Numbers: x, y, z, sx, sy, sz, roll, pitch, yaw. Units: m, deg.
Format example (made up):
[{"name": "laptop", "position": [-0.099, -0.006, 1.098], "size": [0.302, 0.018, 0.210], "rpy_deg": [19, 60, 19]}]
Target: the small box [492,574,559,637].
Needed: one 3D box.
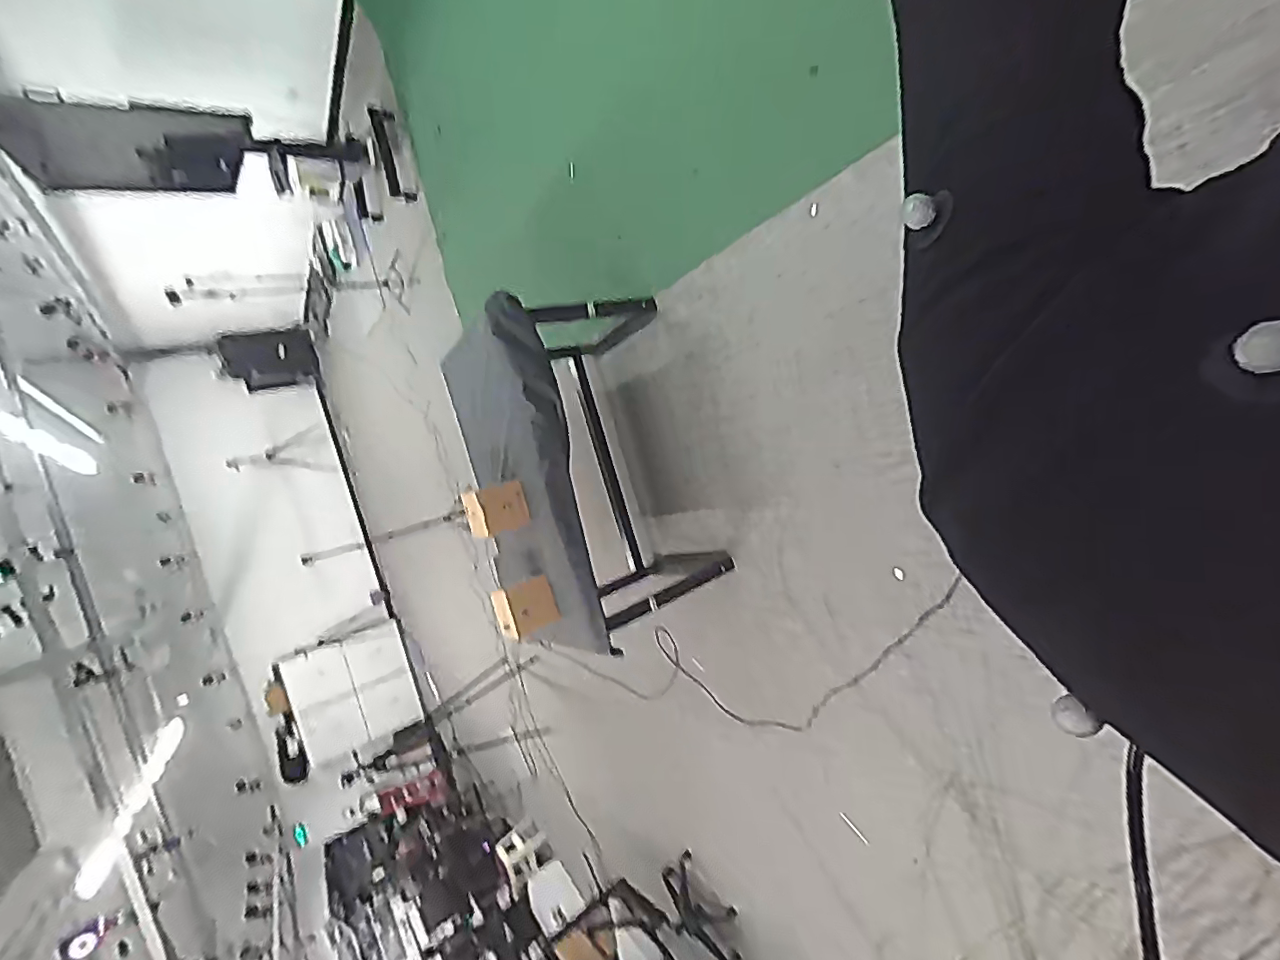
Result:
[{"name": "small box", "position": [-0.415, 0.455, 1.975], "size": [0.168, 0.176, 0.179], "rpy_deg": [-19, 88, 55]}]

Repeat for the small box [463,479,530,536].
[{"name": "small box", "position": [-0.513, 0.099, 1.955], "size": [0.179, 0.176, 0.168], "rpy_deg": [-11, 96, 55]}]
